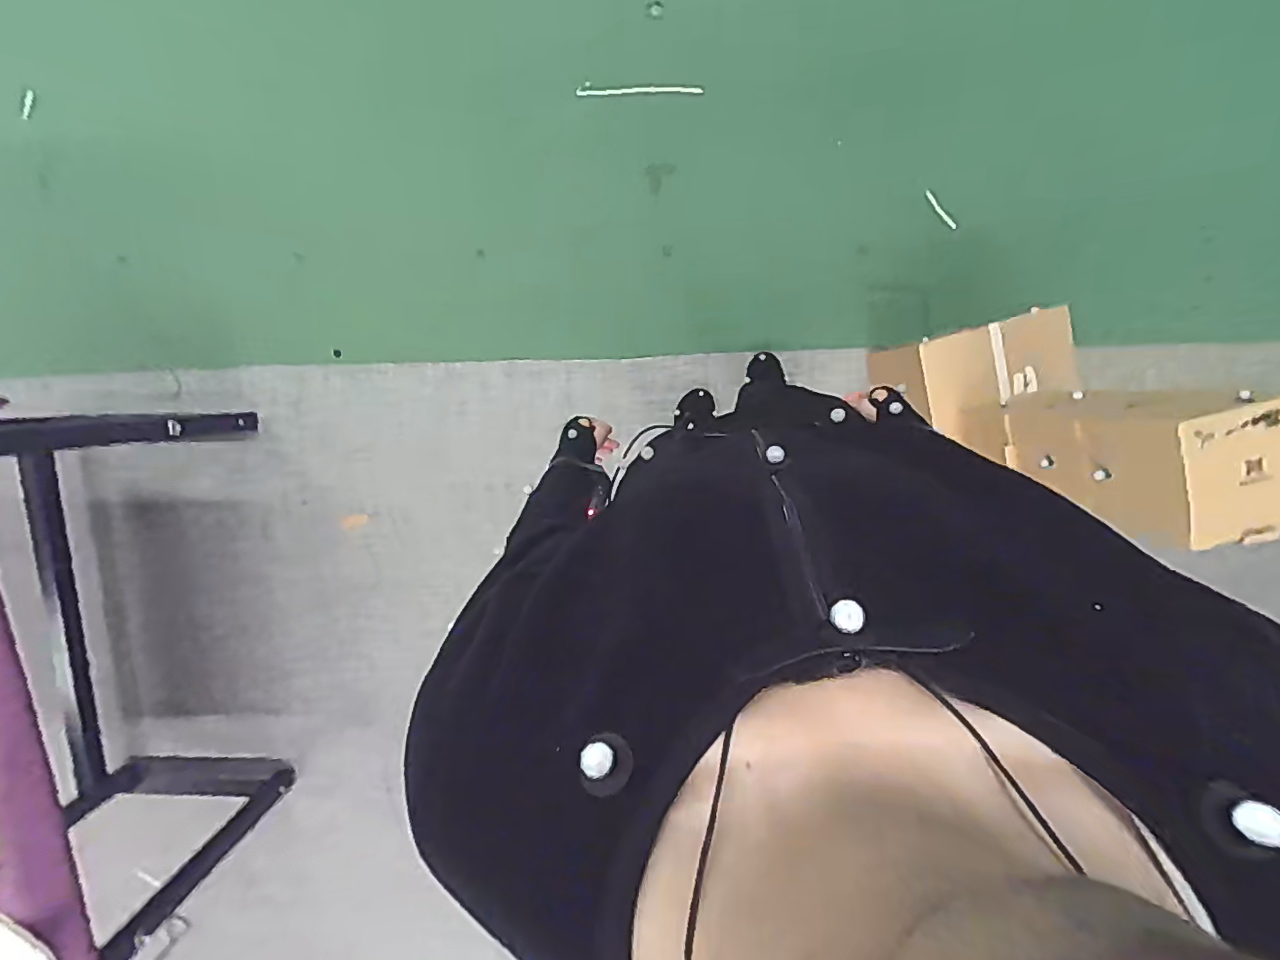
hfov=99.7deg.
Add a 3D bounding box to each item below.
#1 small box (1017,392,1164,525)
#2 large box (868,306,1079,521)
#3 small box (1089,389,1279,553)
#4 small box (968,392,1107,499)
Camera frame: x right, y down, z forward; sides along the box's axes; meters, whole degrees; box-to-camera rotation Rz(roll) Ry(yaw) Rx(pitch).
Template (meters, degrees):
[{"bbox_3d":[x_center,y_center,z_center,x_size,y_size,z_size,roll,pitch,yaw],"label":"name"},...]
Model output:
[{"bbox_3d":[0.776,-0.044,0.907,0.168,0.176,0.179,-15,98,5],"label":"small box"},{"bbox_3d":[0.793,-0.153,1.302,0.320,0.320,0.408,-15,97,4],"label":"large box"},{"bbox_3d":[0.769,-0.021,0.744,0.168,0.176,0.179,-14,99,5],"label":"small box"},{"bbox_3d":[0.780,-0.072,1.068,0.179,0.176,0.168,-14,98,5],"label":"small box"}]
